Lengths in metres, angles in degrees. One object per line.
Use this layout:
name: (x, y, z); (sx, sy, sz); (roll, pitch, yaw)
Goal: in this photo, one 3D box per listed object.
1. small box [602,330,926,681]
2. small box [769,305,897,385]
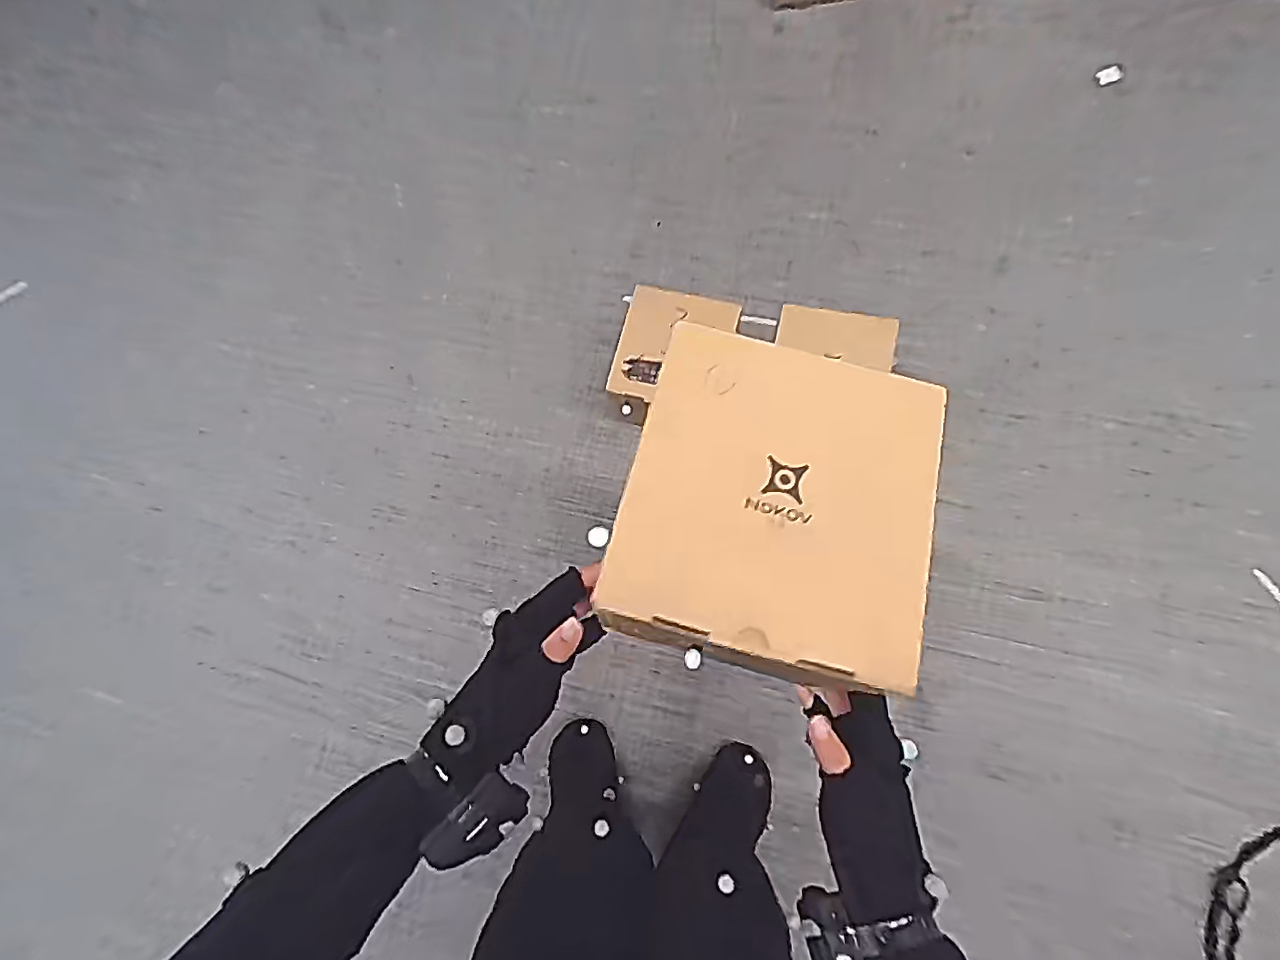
small box: (0.072, 0.031, 0.383); (0.168, 0.176, 0.179); (15, 71, 2)
small box: (0.276, -0.142, 0.841); (0.168, 0.176, 0.179); (12, 83, 9)
